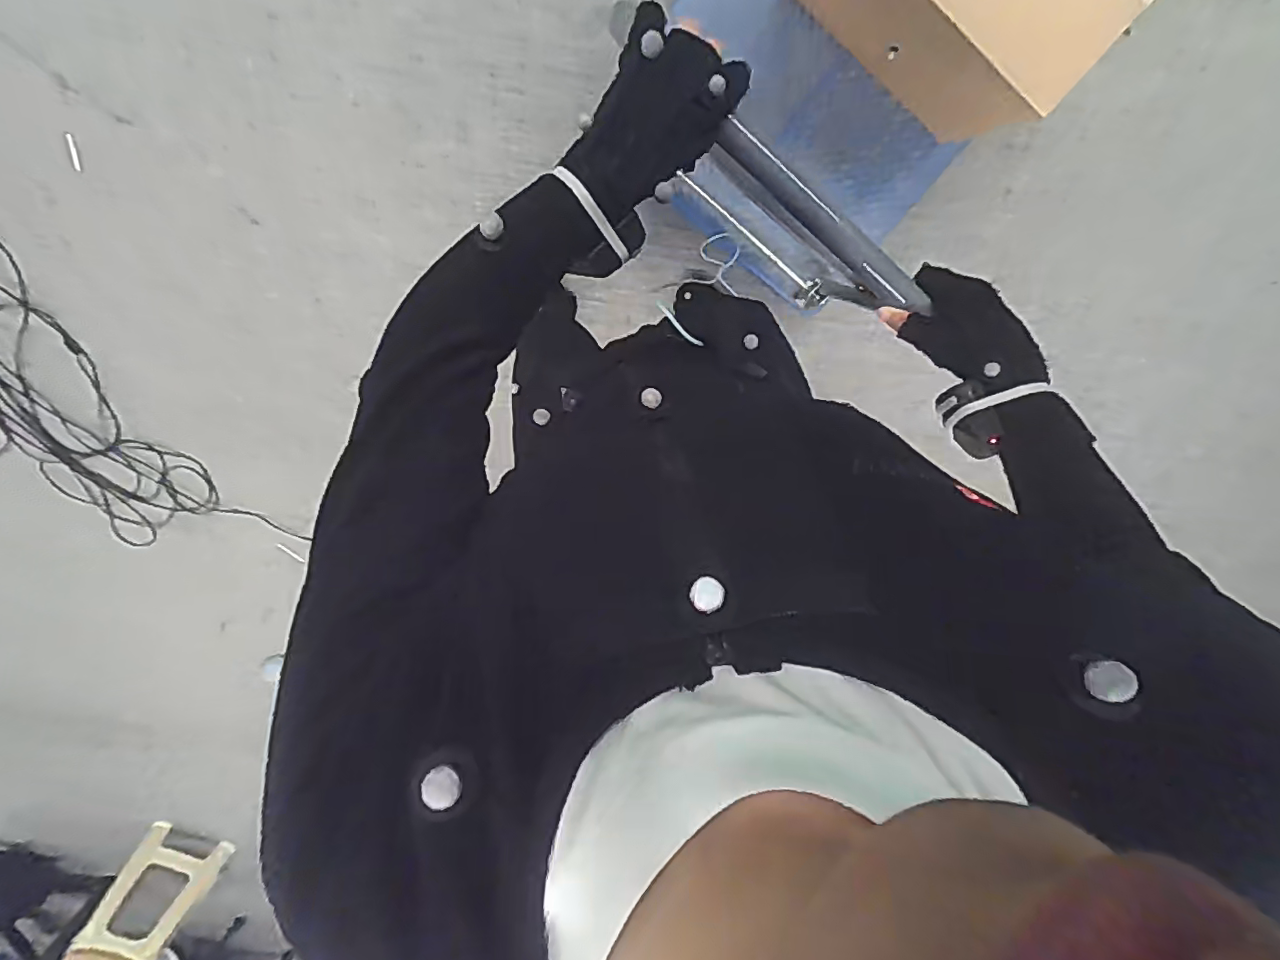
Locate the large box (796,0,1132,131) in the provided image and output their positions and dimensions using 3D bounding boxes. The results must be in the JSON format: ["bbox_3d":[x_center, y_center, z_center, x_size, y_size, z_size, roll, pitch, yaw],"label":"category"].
[{"bbox_3d":[0.484,-0.792,0.783,0.408,0.320,0.320,32,113,-13],"label":"large box"}]
